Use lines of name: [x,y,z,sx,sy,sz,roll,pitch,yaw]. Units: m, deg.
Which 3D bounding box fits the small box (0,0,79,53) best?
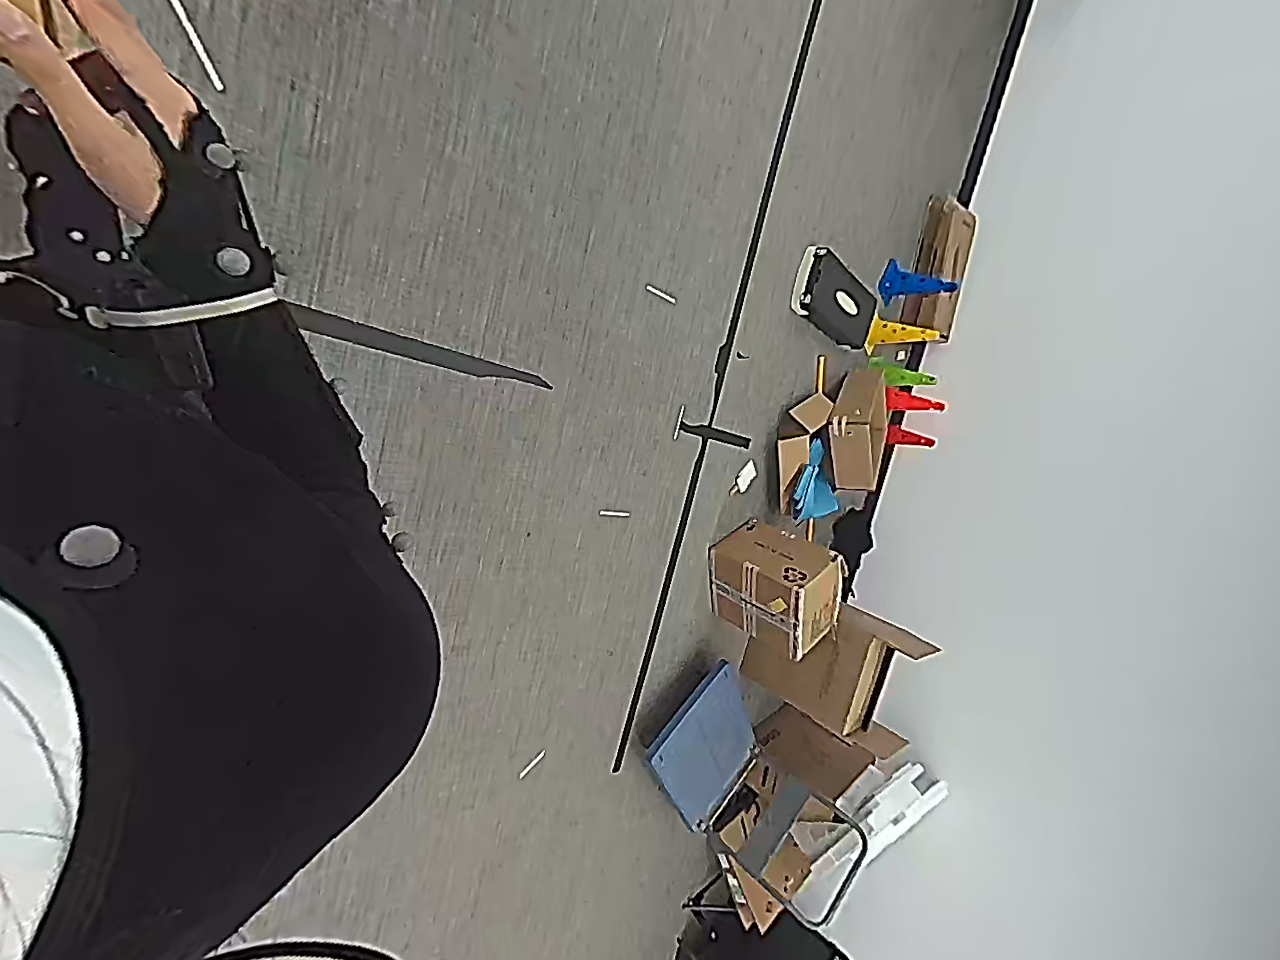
small box: [-0.363,-0.301,0.216,0.179,0.176,0.168,-6,123,-42]
